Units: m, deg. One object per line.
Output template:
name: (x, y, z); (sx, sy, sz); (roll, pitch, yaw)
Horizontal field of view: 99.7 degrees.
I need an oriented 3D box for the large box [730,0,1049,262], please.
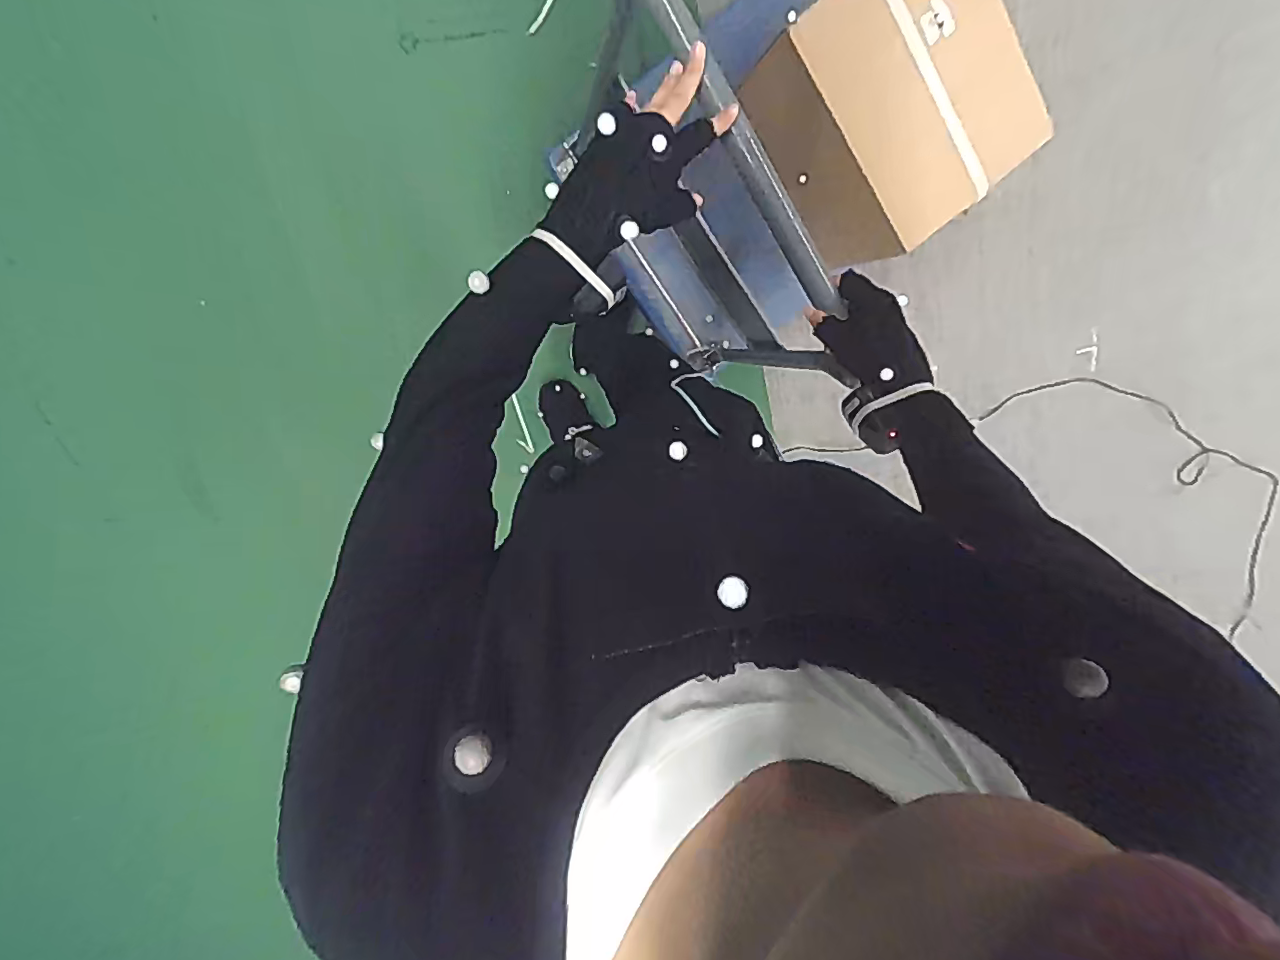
large box: (0.432, -0.681, 1.004); (0.320, 0.320, 0.408); (-38, 107, 4)
